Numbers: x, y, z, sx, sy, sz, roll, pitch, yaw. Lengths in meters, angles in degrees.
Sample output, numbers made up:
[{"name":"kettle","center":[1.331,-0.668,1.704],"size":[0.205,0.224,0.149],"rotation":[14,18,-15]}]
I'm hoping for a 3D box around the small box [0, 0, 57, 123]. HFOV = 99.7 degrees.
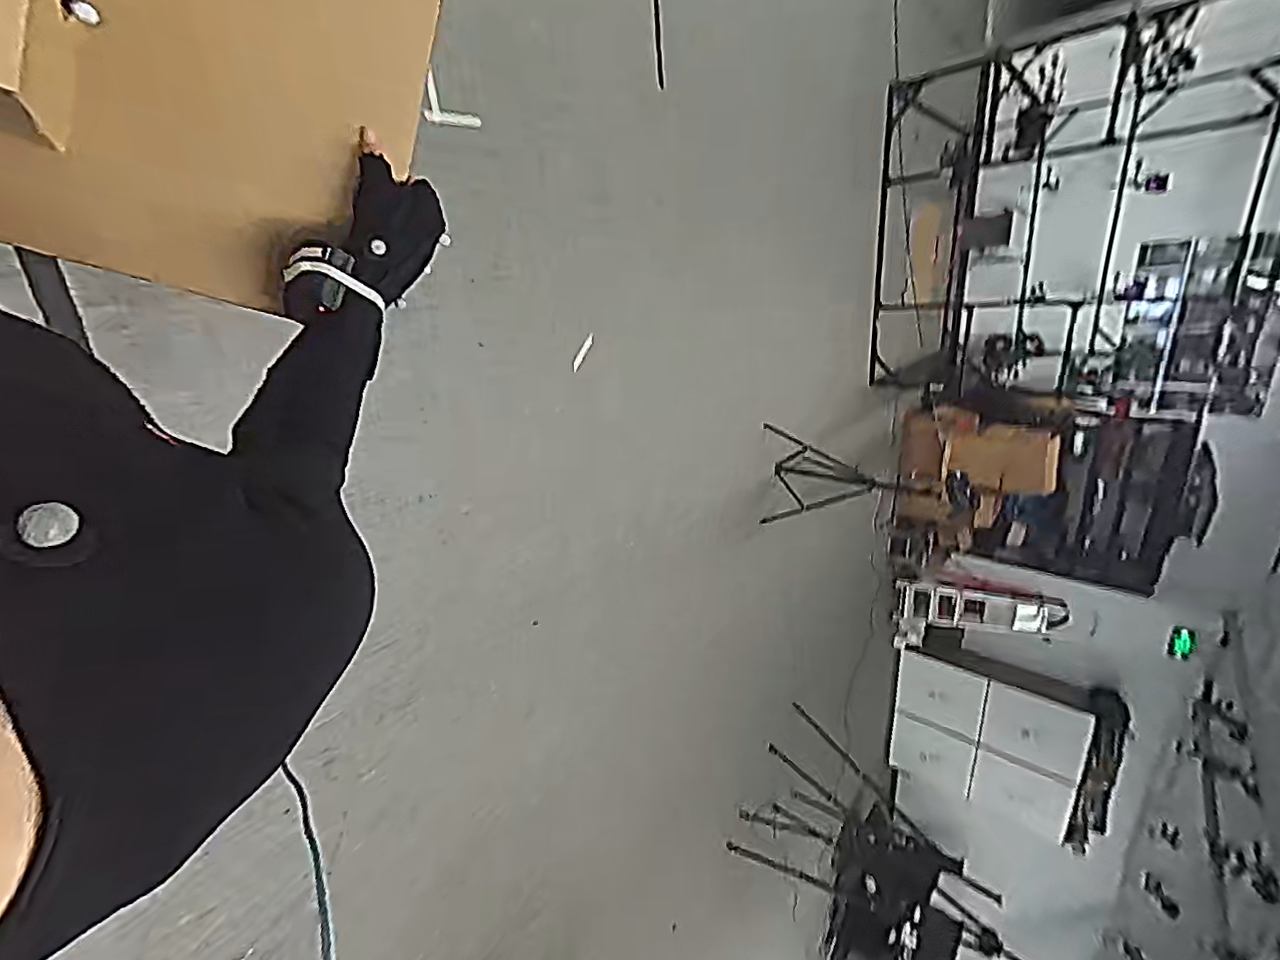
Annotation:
[{"name":"small box","center":[-0.421,-0.311,0.267],"size":[0.179,0.176,0.168],"rotation":[9,99,-42]}]
